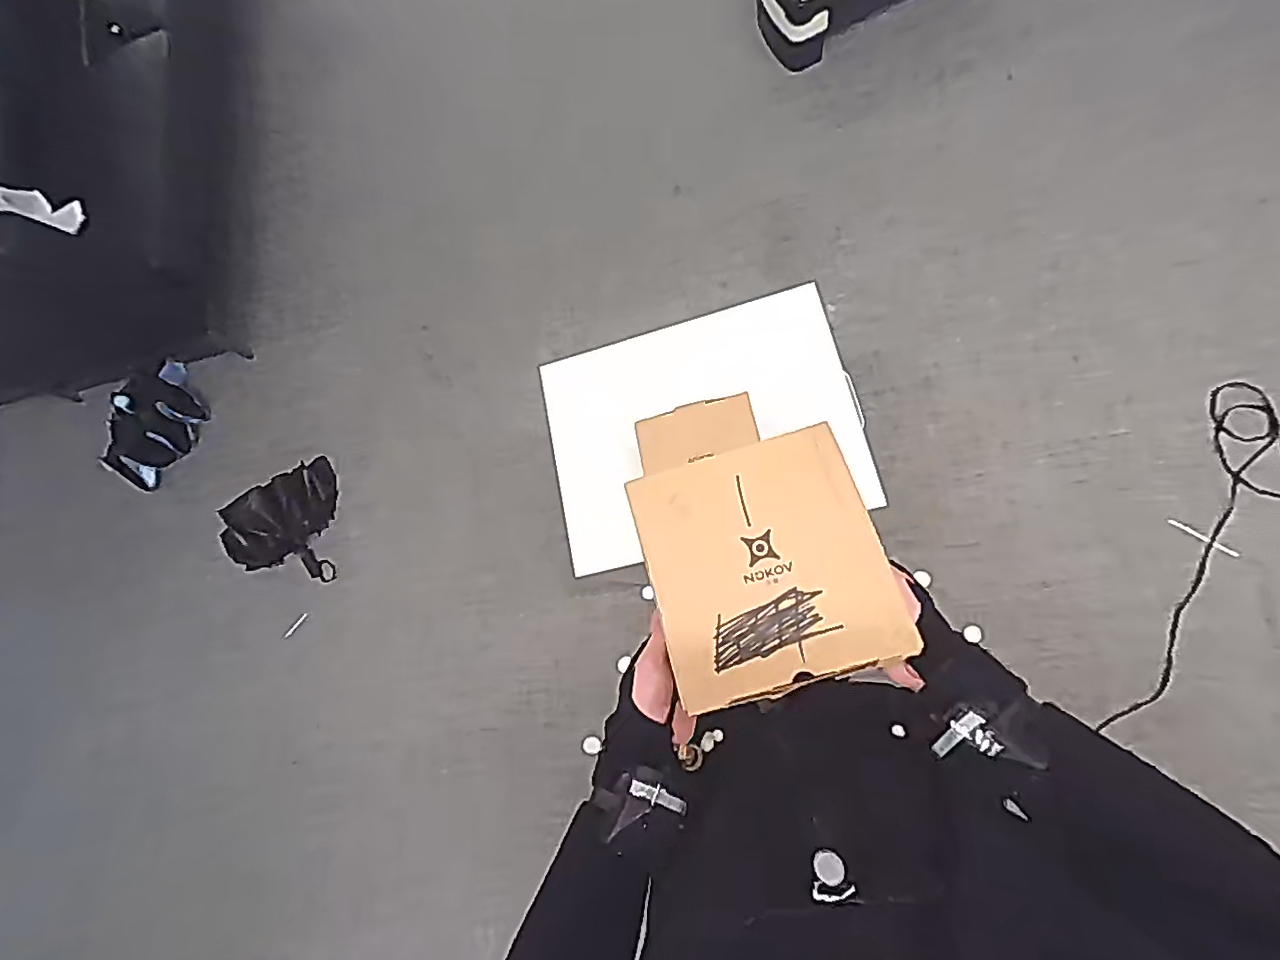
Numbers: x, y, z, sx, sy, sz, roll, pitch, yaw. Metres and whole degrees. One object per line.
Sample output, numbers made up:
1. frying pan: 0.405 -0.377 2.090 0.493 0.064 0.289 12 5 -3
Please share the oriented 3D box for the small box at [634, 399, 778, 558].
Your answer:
1. small box: 0.101 0.007 0.806 0.168 0.176 0.179 -15 73 10
